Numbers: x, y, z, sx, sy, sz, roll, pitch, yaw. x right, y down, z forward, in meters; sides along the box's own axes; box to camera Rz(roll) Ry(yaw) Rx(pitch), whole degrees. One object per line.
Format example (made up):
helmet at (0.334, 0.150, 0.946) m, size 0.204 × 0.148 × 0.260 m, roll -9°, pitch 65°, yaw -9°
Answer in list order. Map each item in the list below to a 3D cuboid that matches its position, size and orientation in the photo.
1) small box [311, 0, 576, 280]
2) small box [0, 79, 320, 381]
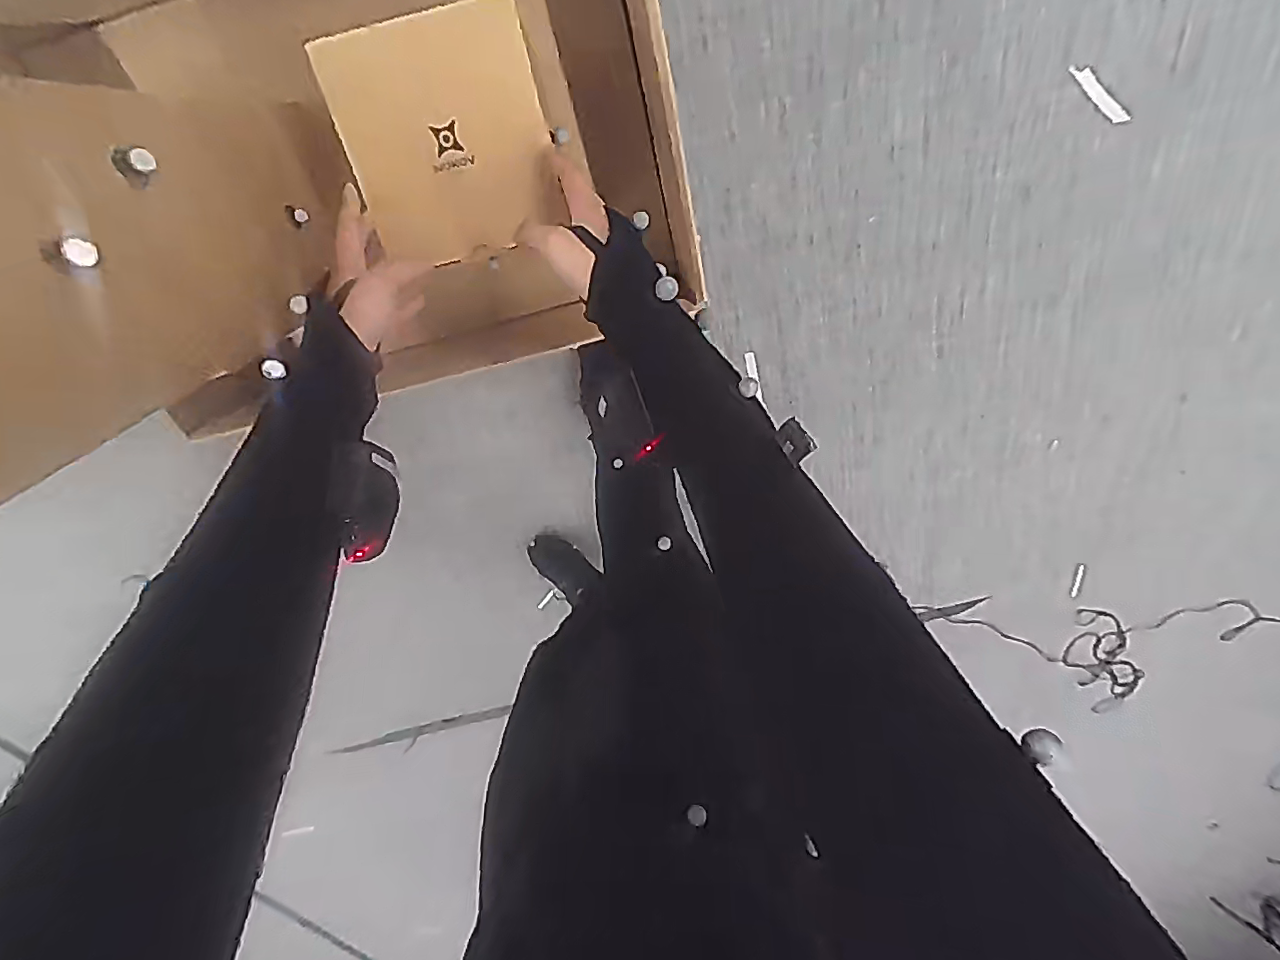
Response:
small box at (-0.164, -0.306, 0.520) m, size 0.168 × 0.176 × 0.179 m, roll -13°, pitch 116°, yaw 3°
small box at (-0.392, -0.166, 0.407) m, size 0.168 × 0.176 × 0.179 m, roll -15°, pitch 123°, yaw 6°
